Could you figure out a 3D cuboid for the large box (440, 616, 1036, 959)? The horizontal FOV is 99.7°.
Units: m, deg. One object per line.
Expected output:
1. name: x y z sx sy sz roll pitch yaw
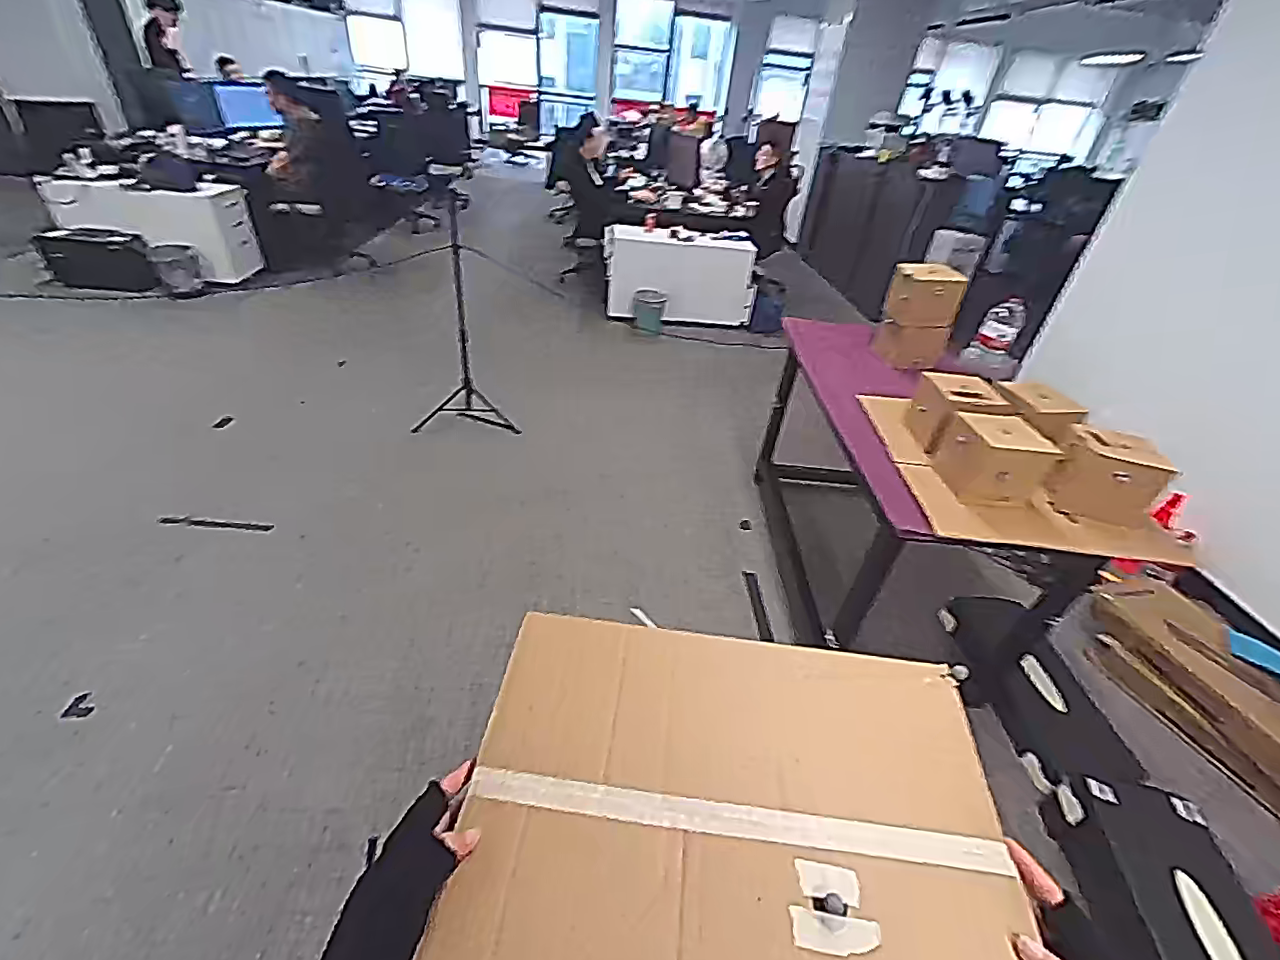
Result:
1. large box: 0.072 0.368 0.525 0.408 0.320 0.320 7 44 4
